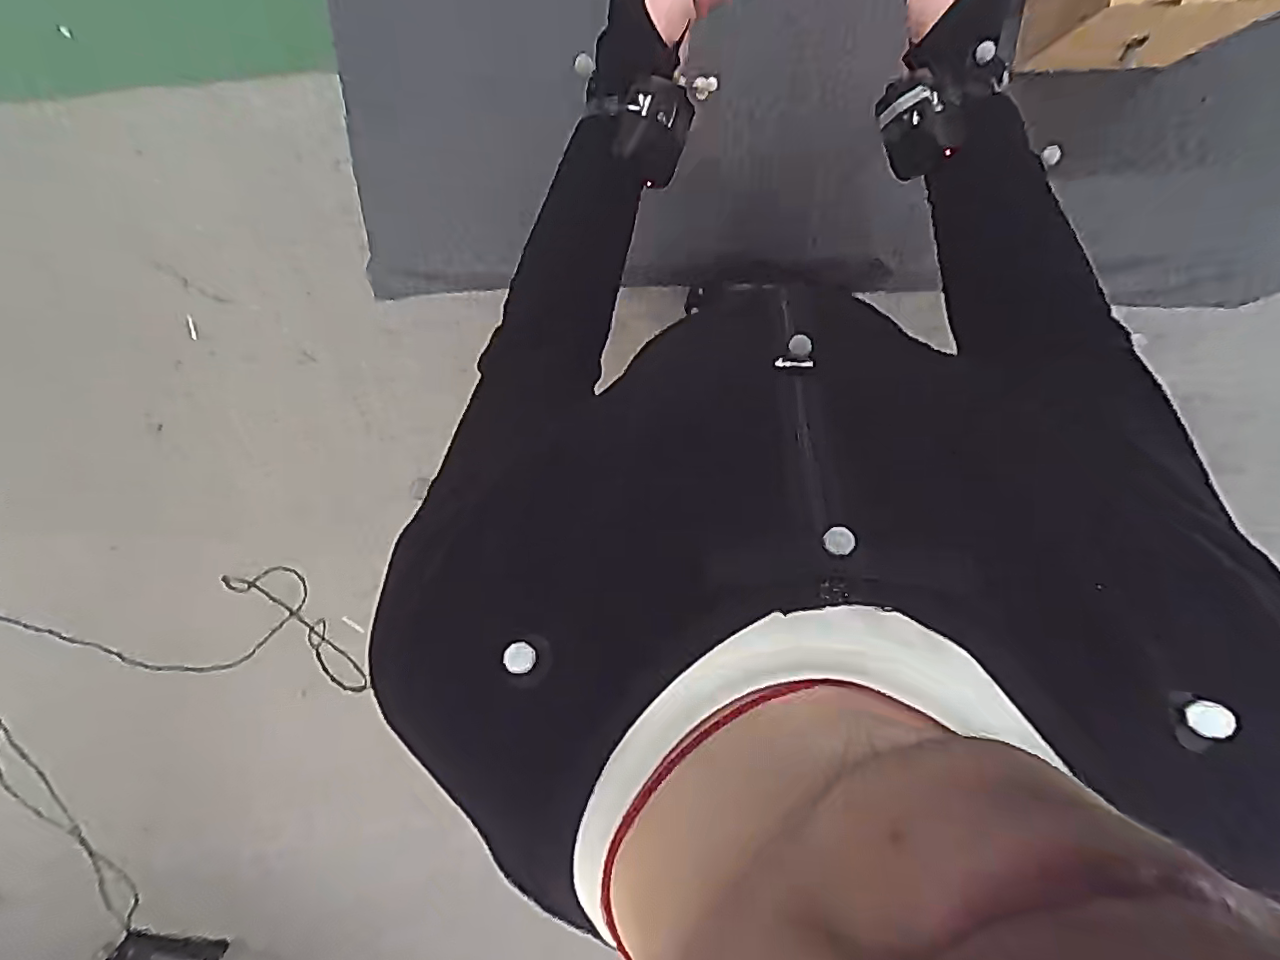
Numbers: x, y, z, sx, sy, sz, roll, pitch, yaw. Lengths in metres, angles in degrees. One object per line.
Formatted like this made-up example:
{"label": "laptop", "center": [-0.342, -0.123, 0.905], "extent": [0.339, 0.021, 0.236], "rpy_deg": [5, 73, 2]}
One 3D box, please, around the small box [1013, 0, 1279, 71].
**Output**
{"label": "small box", "center": [0.498, -0.521, 0.520], "extent": [0.168, 0.176, 0.179], "rpy_deg": [2, 111, 7]}
